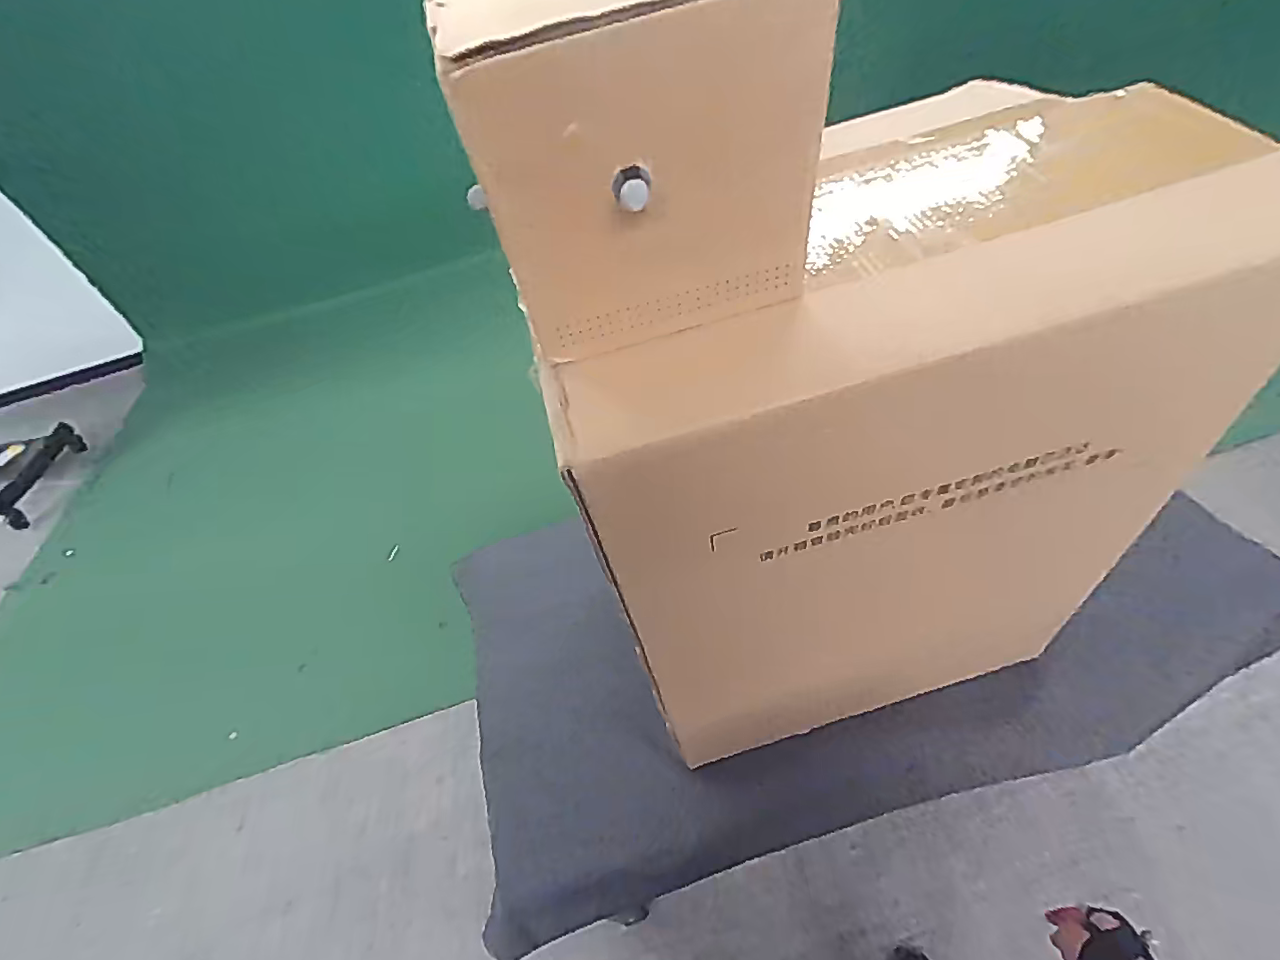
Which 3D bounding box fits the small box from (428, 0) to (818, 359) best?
[{"bbox_3d":[-0.009,-0.202,0.335,0.179,0.176,0.168,-17,55,-1],"label":"small box"}]
